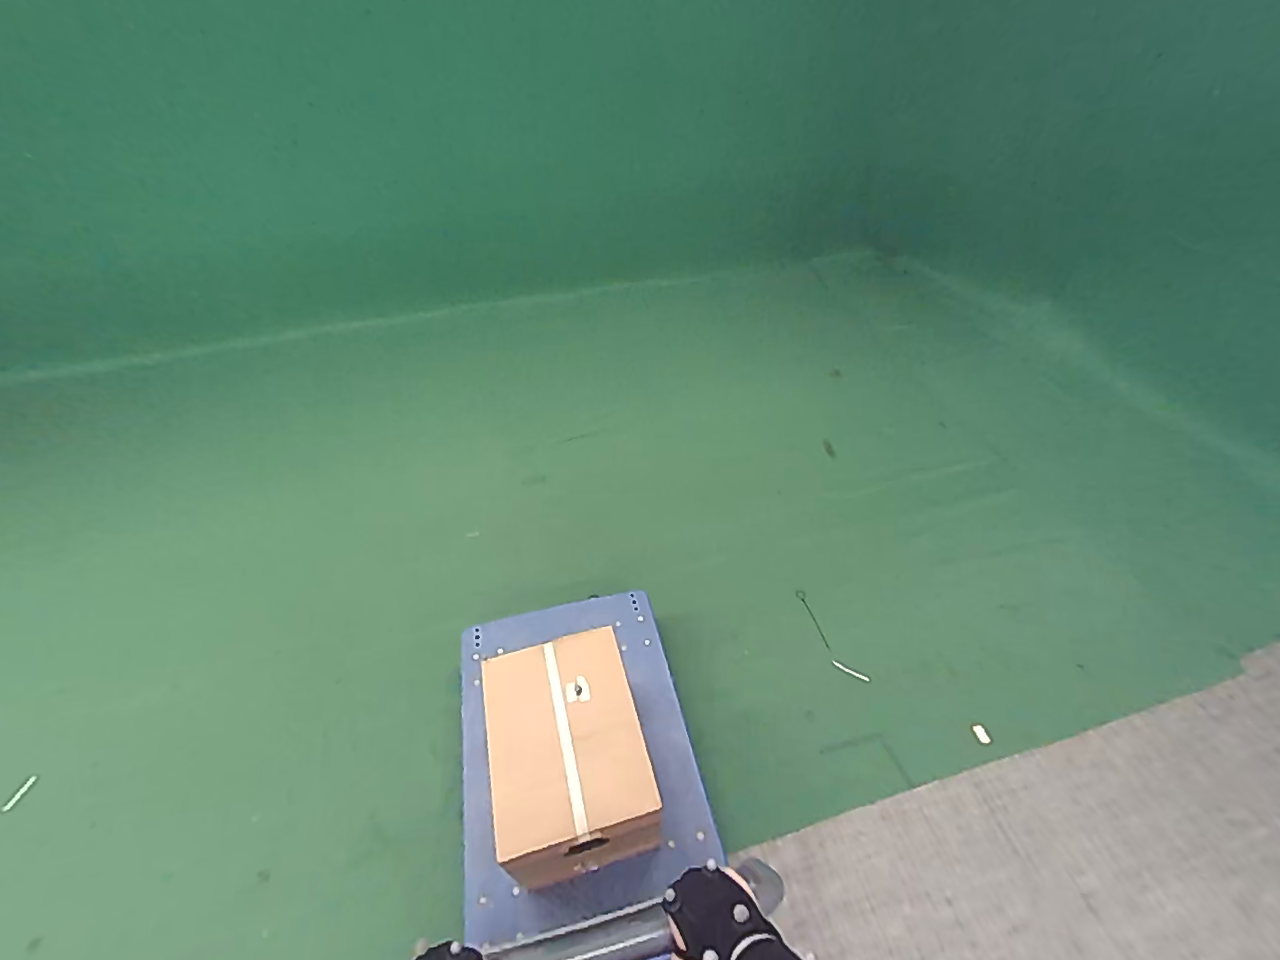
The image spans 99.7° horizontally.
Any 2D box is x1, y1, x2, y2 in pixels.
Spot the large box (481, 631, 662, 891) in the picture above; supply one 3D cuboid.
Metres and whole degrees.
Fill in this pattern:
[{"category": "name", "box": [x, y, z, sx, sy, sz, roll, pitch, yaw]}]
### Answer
[{"category": "large box", "box": [-0.157, 0.633, 1.240, 0.320, 0.320, 0.408, -13, 46, -10]}]
